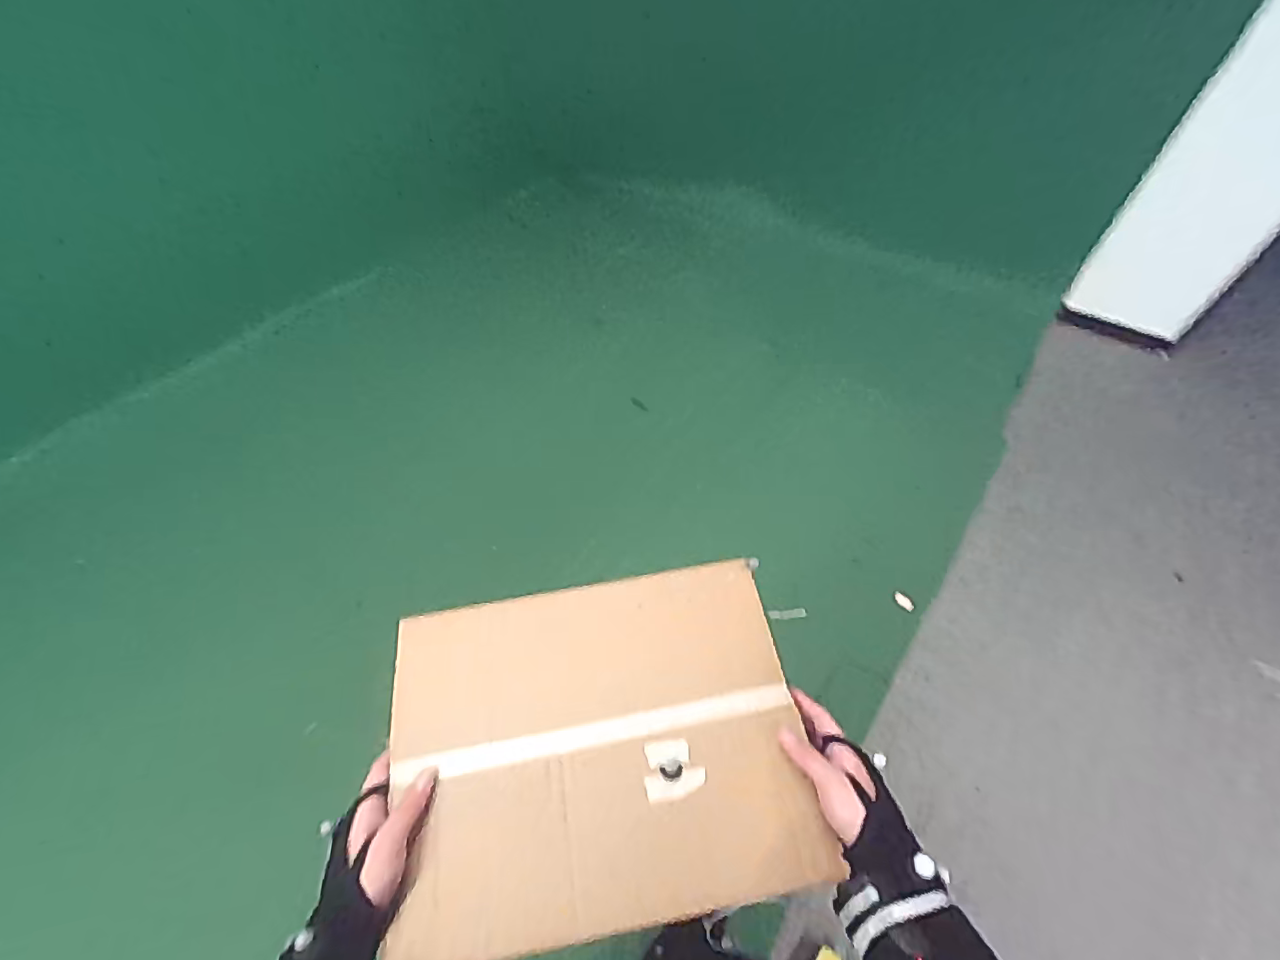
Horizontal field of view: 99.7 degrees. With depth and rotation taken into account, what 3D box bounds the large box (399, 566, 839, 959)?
[{"bbox_3d":[-0.037,0.342,0.678,0.408,0.320,0.320,-8,57,-5],"label":"large box"}]
